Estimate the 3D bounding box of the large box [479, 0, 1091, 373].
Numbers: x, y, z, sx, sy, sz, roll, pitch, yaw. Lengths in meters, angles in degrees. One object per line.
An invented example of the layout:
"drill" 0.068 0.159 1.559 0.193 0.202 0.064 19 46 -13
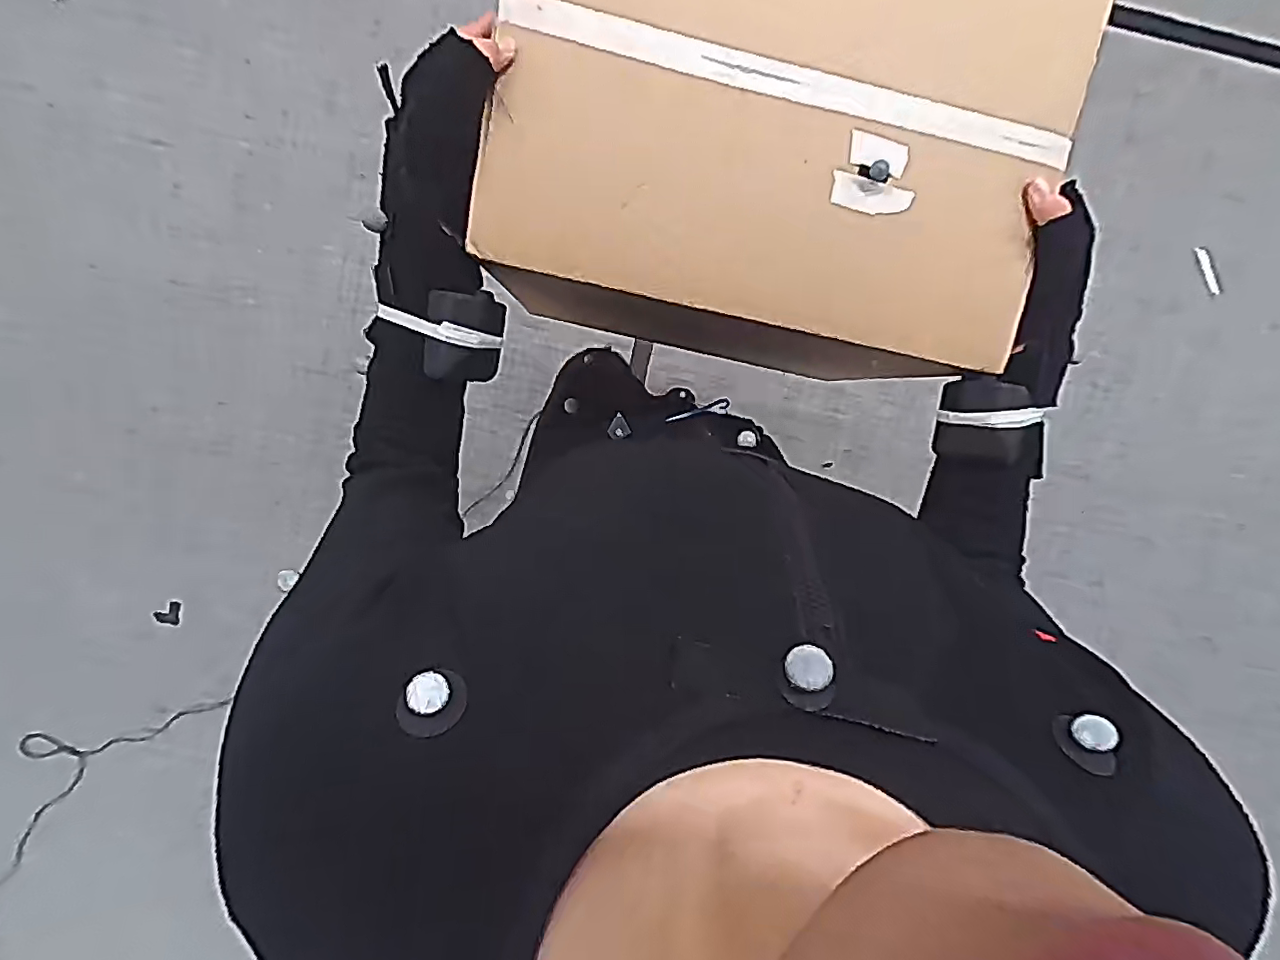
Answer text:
"large box" 0.092 -0.297 0.526 0.408 0.320 0.320 11 100 -6
